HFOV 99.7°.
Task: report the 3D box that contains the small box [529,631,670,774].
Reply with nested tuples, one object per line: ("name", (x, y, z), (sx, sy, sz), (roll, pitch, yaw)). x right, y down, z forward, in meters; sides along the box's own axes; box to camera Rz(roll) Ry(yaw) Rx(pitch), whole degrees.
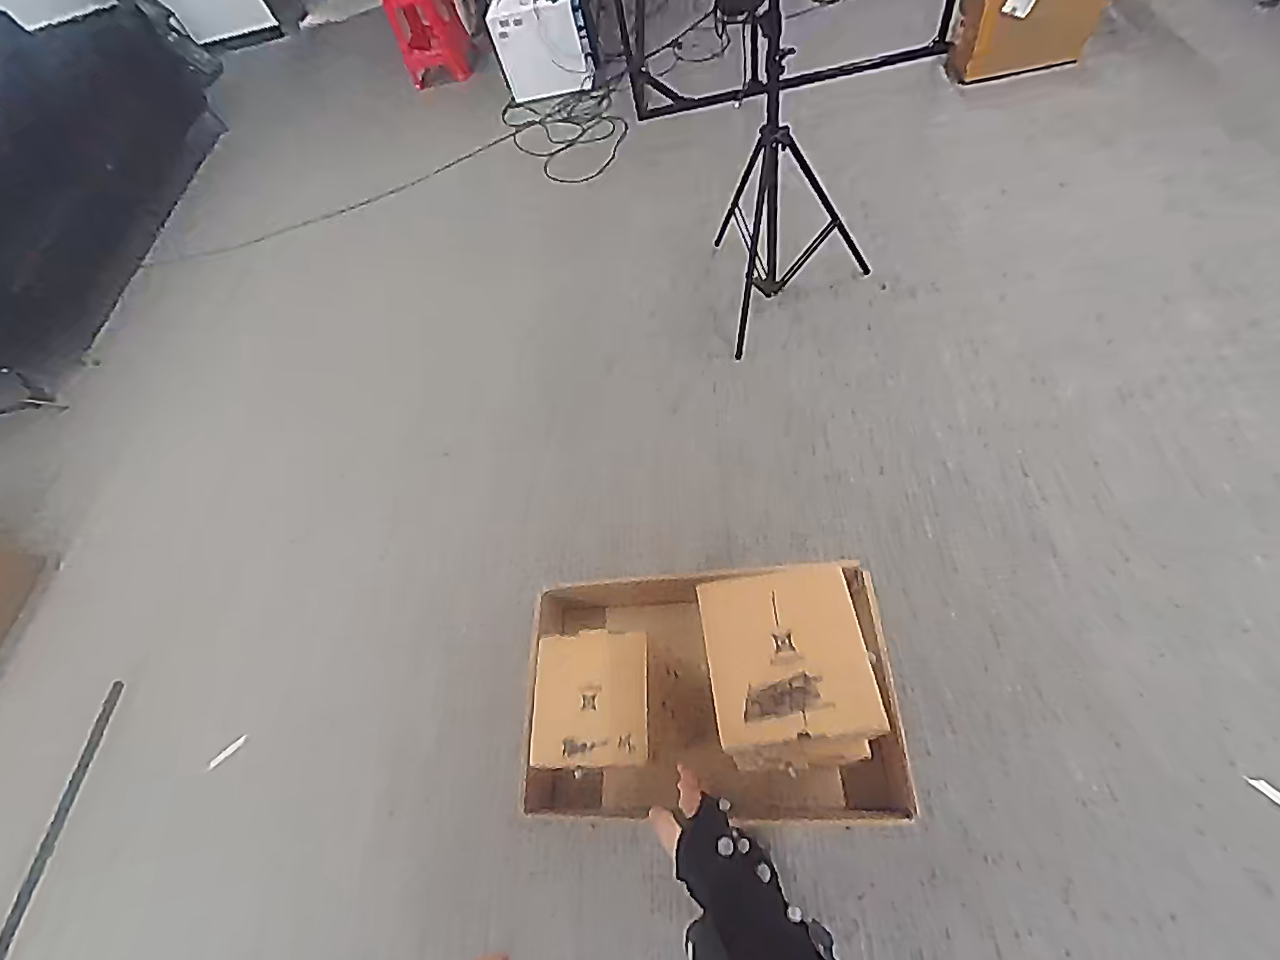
("small box", (-0.051, 0.340, 0.819), (0.168, 0.176, 0.179), (-6, 59, 12))

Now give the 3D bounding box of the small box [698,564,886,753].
("small box", (0.170, 0.220, 0.640), (0.168, 0.176, 0.179), (-11, 59, 7))

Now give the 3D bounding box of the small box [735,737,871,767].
("small box", (0.212, 0.307, 0.774), (0.168, 0.176, 0.179), (-9, 61, 9))
